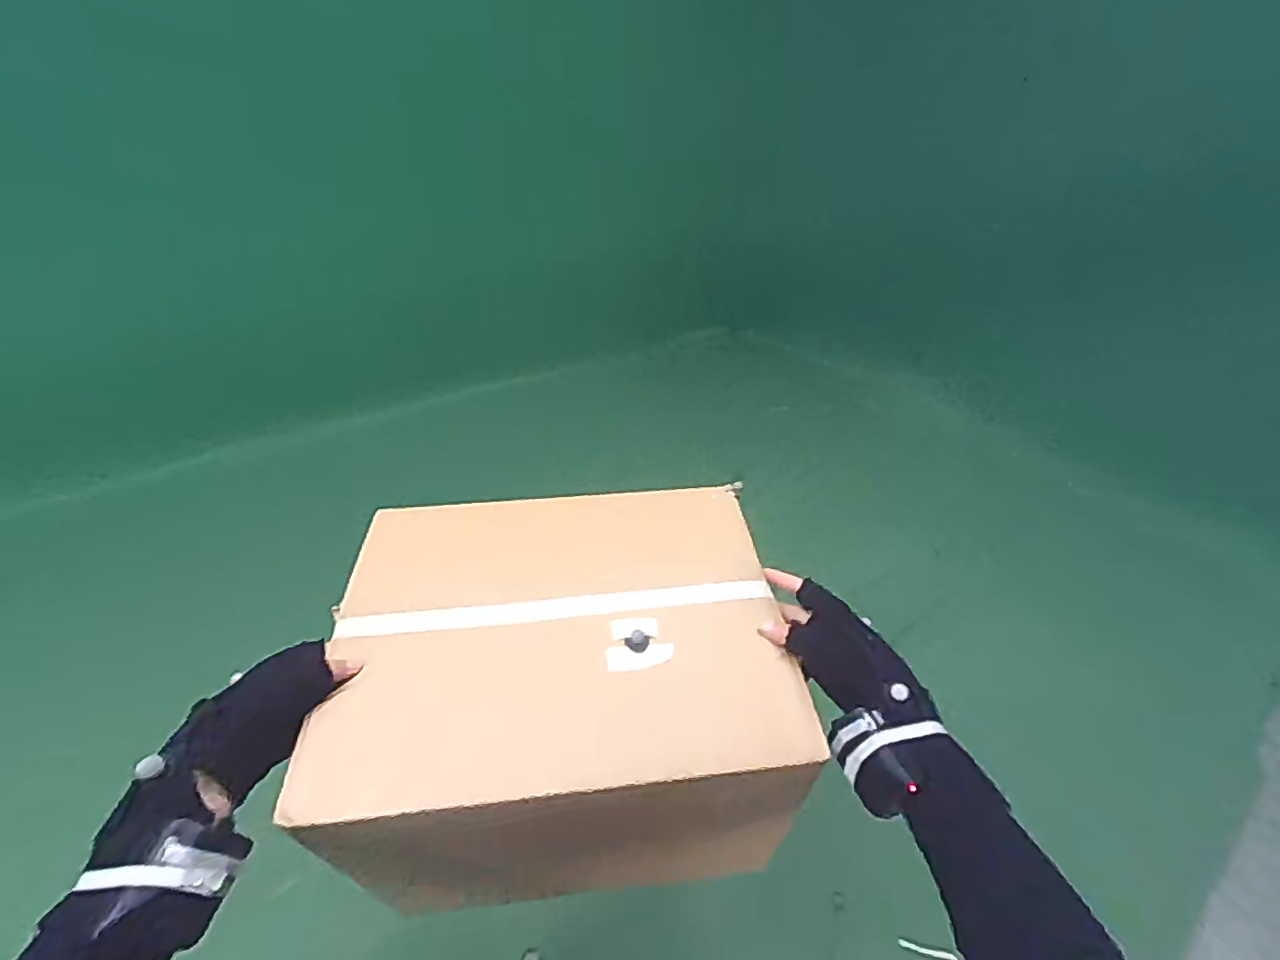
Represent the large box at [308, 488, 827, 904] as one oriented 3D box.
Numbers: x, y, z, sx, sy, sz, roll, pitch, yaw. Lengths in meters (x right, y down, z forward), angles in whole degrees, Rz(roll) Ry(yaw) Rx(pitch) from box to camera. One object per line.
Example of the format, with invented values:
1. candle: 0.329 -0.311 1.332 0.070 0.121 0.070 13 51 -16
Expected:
1. large box: -0.069 0.232 0.616 0.408 0.320 0.320 -3 42 -6
